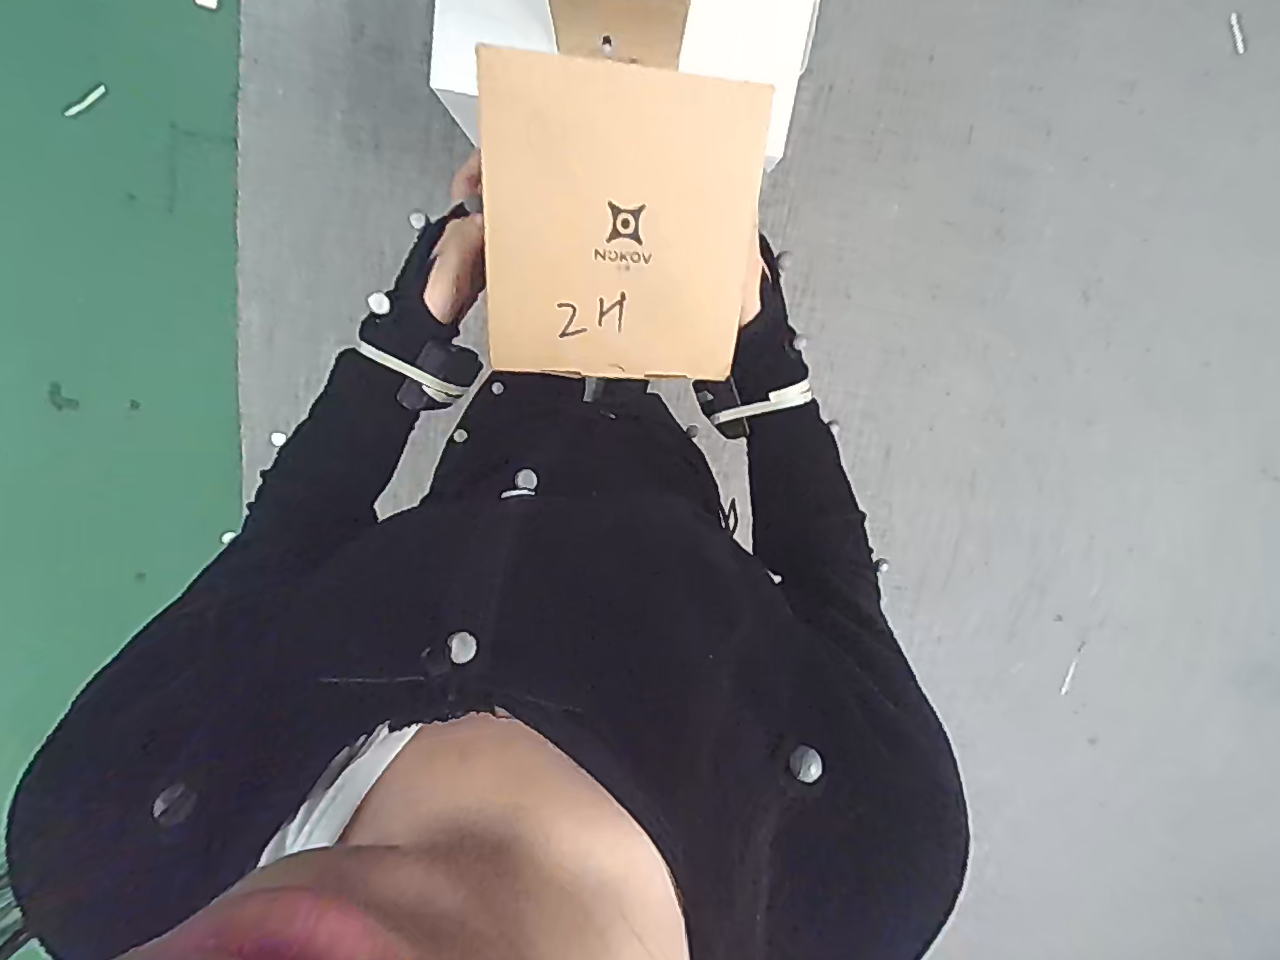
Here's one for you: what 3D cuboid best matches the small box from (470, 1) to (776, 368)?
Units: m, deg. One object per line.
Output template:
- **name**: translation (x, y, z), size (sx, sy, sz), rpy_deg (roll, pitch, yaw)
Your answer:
- **small box**: translation (-0.024, -0.189, 0.384), size (0.168, 0.176, 0.179), rpy_deg (1, 116, -9)
